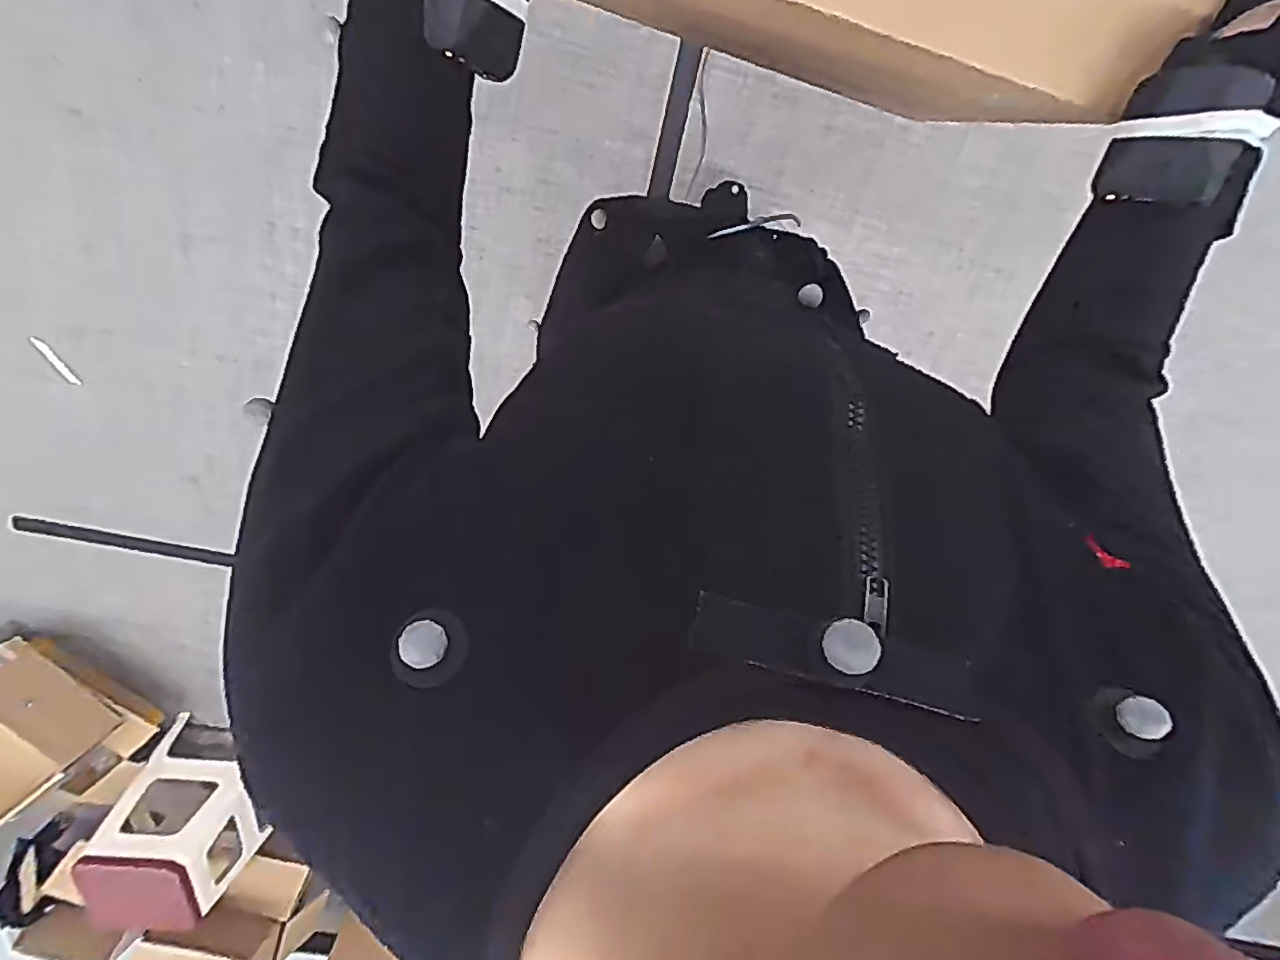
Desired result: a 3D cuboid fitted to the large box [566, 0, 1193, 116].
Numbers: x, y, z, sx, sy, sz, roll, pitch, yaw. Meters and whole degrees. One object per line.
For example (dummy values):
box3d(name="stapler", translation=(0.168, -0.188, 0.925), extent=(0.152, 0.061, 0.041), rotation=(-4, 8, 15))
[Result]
box3d(name="large box", translation=(0.150, -0.476, 0.359), extent=(0.408, 0.320, 0.320), rotation=(12, 124, -9))
